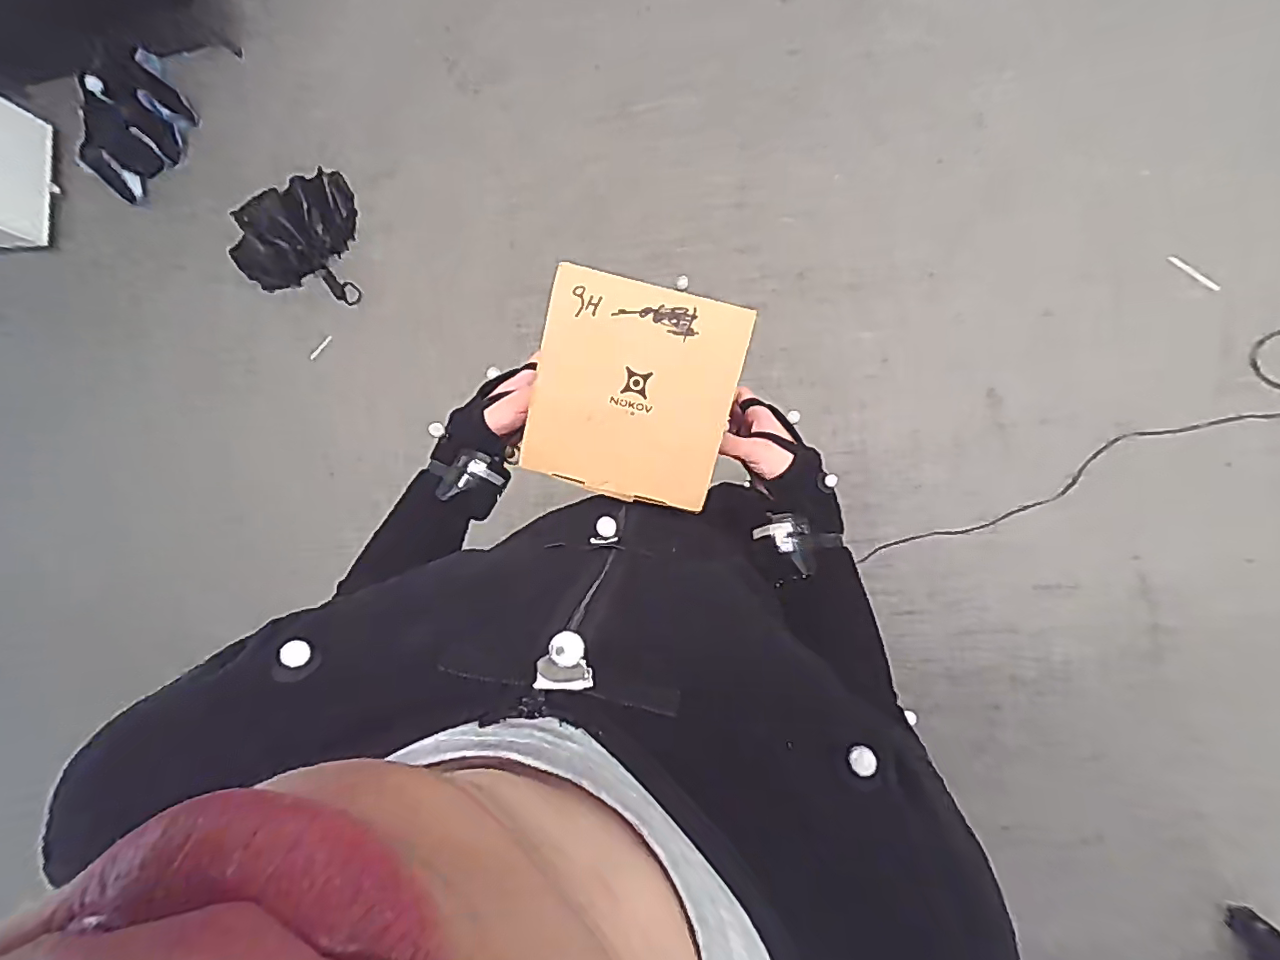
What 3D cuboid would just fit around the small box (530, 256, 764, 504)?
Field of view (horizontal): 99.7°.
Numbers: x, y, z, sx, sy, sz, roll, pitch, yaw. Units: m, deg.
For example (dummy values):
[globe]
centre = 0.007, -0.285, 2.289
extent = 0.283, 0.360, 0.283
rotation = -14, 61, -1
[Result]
[small box]
centre = 0.005, -0.098, 0.530
extent = 0.168, 0.176, 0.179
rotation = 14, 104, -2
